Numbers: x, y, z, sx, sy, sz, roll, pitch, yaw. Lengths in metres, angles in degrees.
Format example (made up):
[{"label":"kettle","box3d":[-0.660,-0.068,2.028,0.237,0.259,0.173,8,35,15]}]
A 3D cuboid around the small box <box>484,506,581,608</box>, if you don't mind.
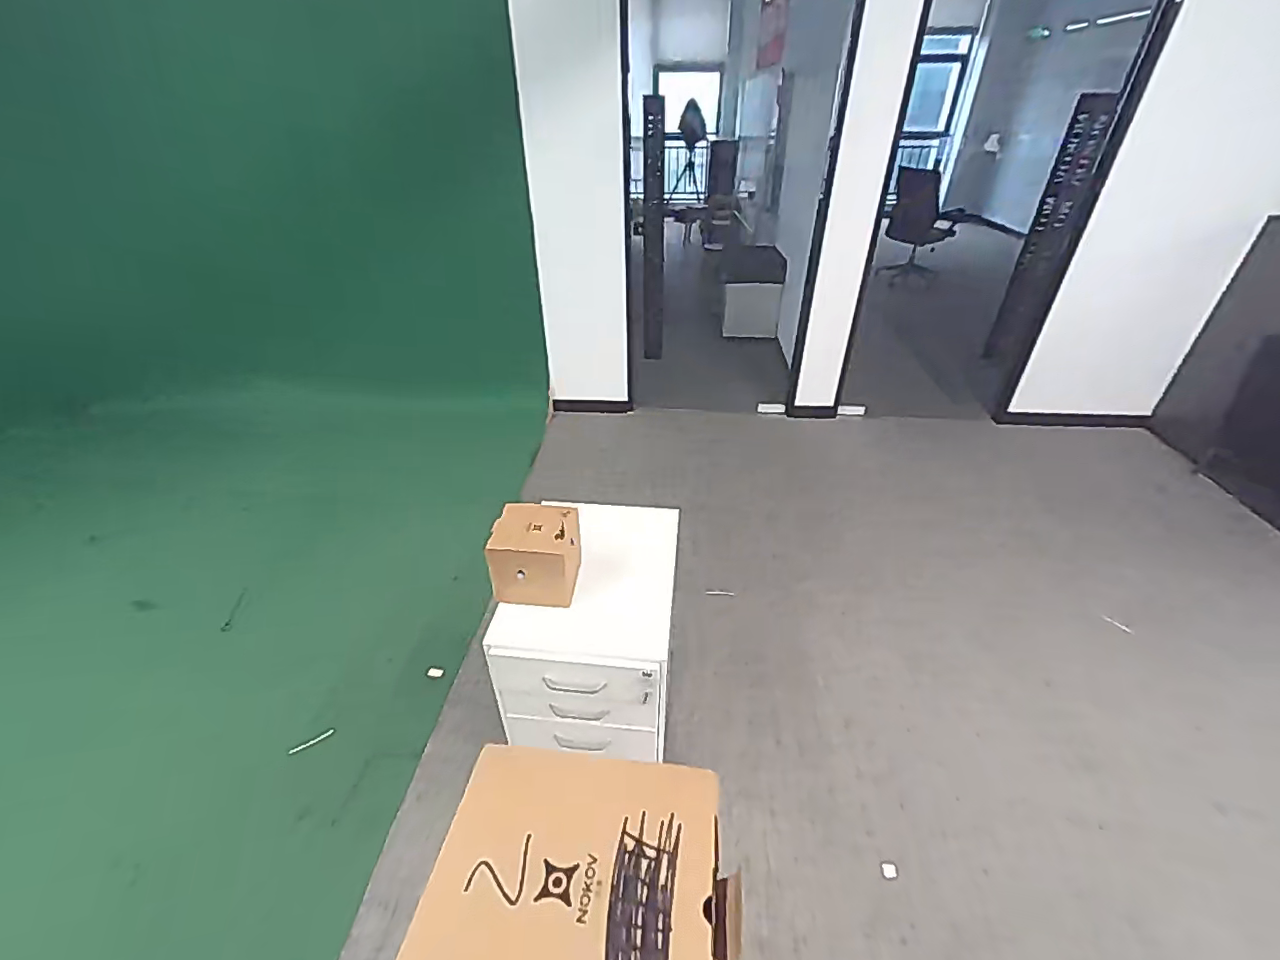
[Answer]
[{"label":"small box","box3d":[-0.239,0.178,1.250,0.179,0.176,0.168,3,35,4]}]
